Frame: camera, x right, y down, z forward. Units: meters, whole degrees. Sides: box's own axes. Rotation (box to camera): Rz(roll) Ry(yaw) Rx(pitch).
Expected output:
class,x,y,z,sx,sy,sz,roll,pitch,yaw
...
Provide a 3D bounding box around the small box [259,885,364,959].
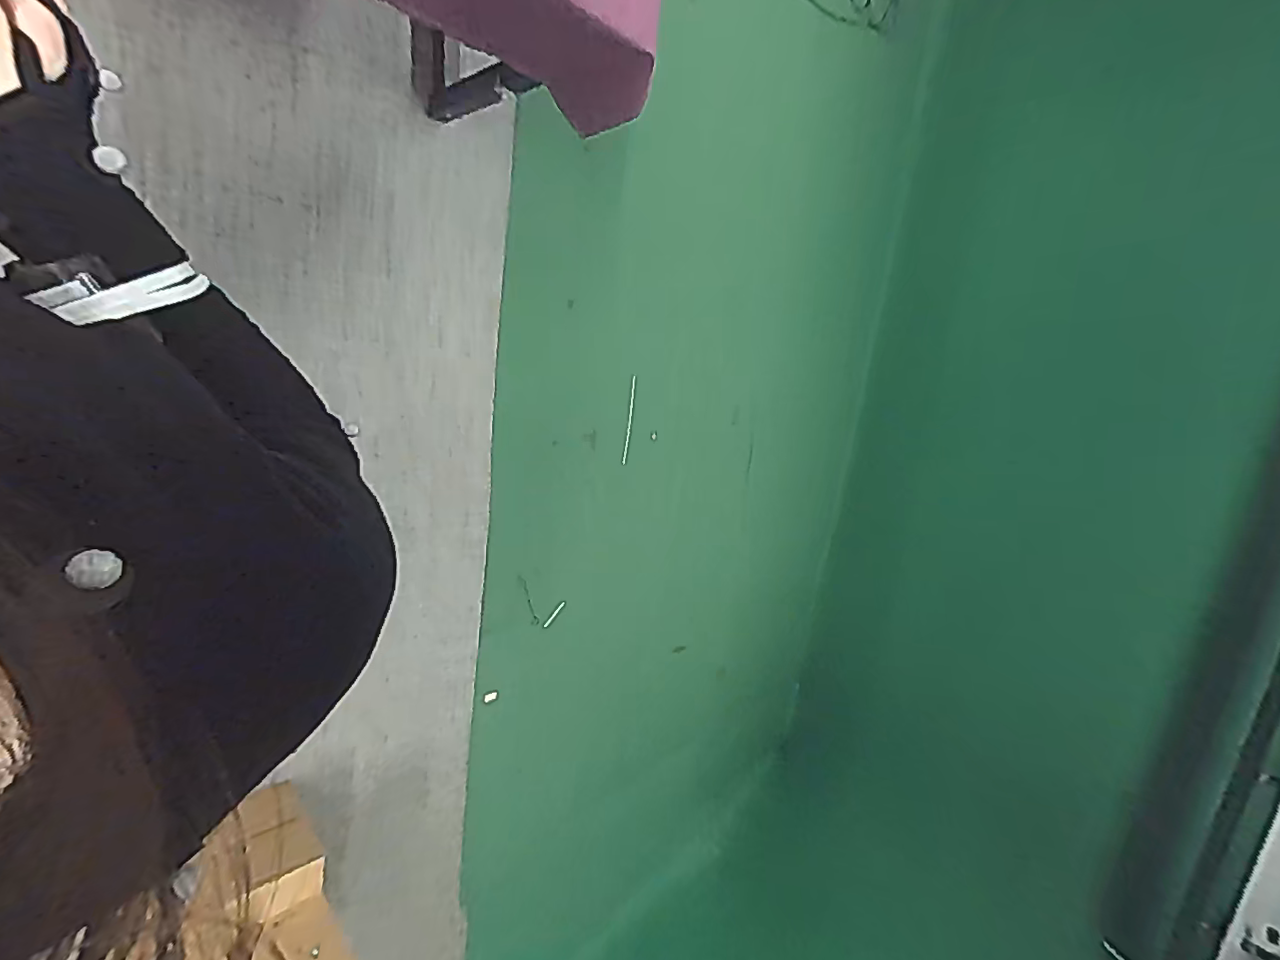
class,x,y,z,sx,sy,sz,roll,pitch,yaw
small box,-0.769,1.112,1.262,0.168,0.176,0.179,-4,108,-50

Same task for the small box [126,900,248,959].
class,x,y,z,sx,sy,sz,roll,pitch,yaw
small box,-0.898,1.000,1.066,0.179,0.176,0.168,-7,109,-49
